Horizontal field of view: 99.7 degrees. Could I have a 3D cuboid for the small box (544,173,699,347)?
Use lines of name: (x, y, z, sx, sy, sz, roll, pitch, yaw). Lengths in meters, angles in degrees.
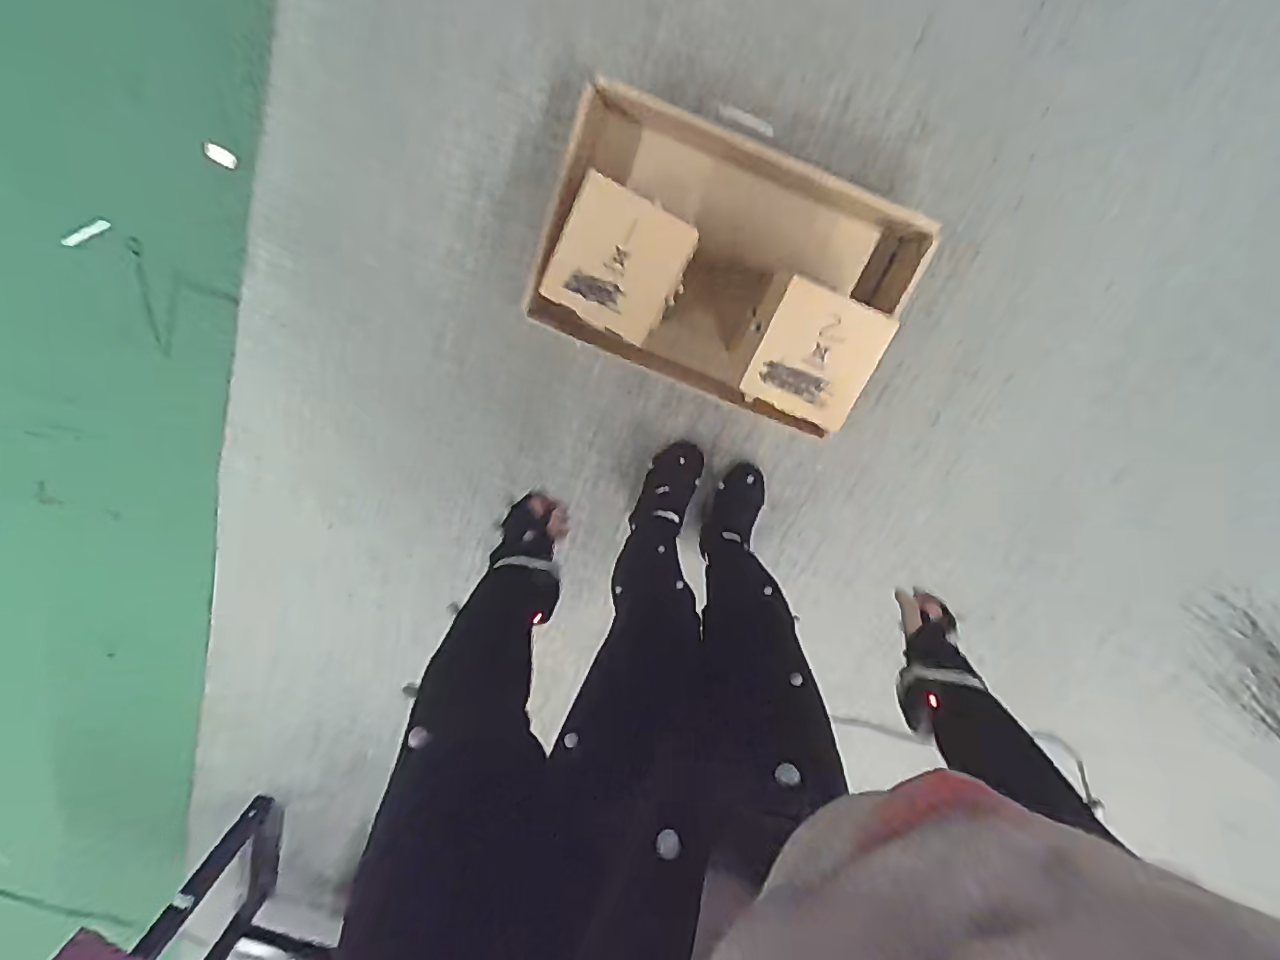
small box: (-0.022, -0.328, 0.828, 0.168, 0.176, 0.179, 27, 109, -6)
